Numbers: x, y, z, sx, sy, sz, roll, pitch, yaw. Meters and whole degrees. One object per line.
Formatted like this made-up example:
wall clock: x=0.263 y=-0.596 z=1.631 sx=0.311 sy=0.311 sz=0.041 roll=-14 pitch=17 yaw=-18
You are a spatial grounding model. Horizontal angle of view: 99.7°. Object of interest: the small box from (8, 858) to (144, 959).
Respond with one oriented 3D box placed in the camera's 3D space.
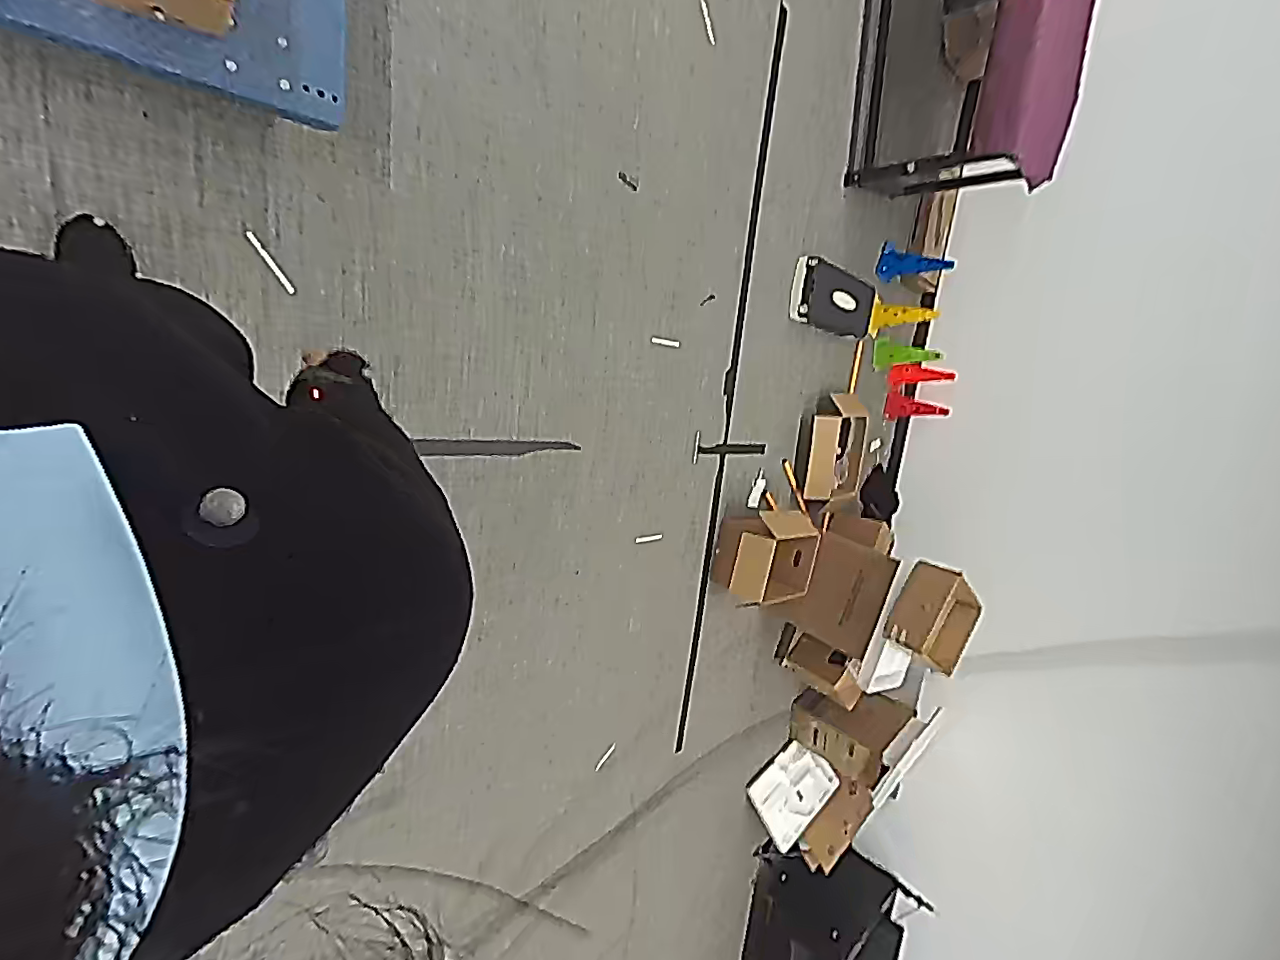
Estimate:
small box: x=-1.212 y=0.984 z=1.174 sx=0.168 sy=0.176 sz=0.179 roll=-19 pitch=116 yaw=-41
